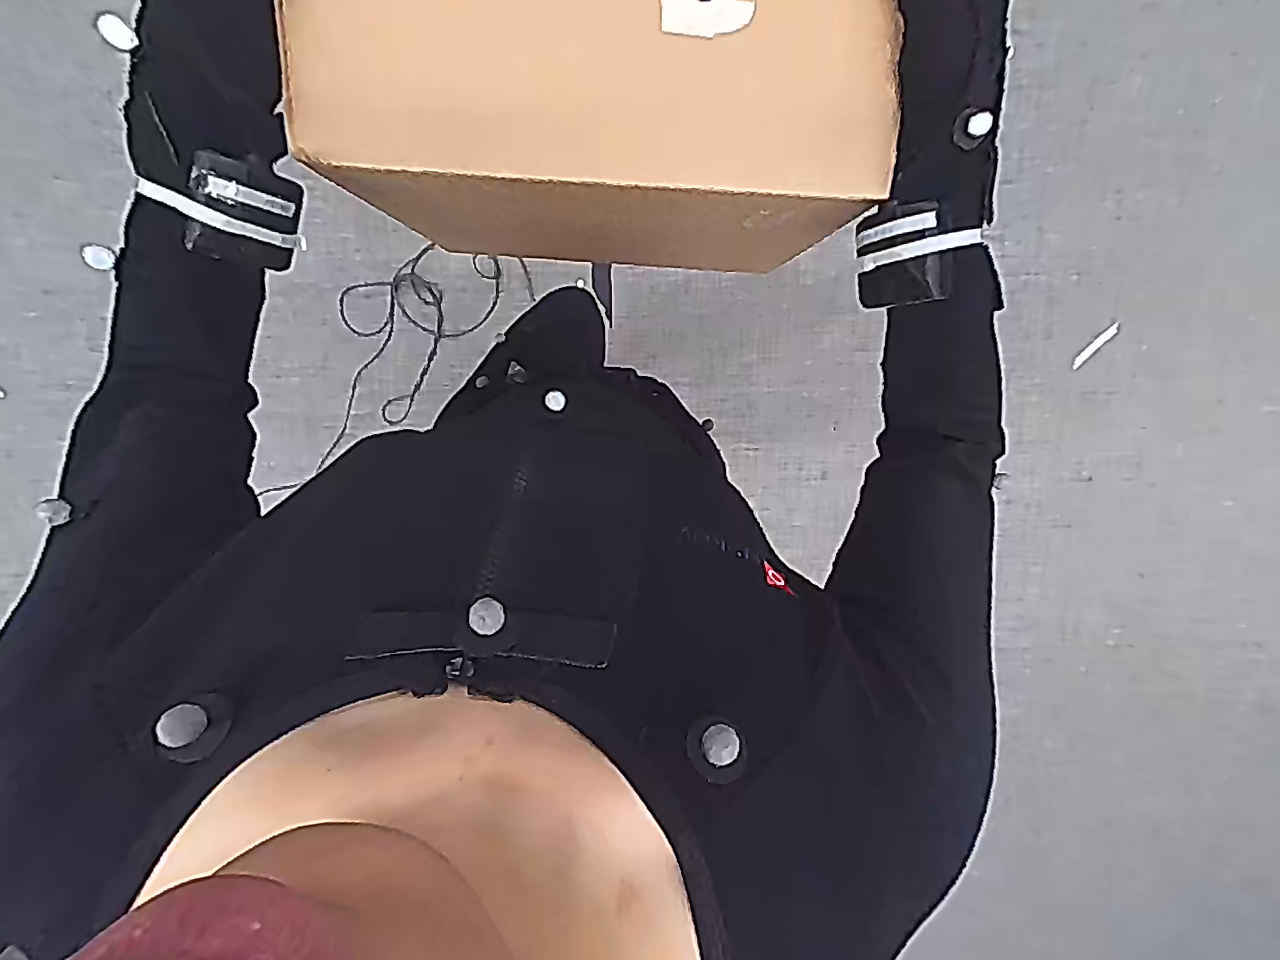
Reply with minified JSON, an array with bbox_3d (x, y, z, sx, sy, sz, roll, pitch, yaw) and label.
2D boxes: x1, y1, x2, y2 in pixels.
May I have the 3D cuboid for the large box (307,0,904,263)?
[{"bbox_3d":[-0.024,-0.395,0.495,0.408,0.320,0.320,2,103,-2],"label":"large box"}]
